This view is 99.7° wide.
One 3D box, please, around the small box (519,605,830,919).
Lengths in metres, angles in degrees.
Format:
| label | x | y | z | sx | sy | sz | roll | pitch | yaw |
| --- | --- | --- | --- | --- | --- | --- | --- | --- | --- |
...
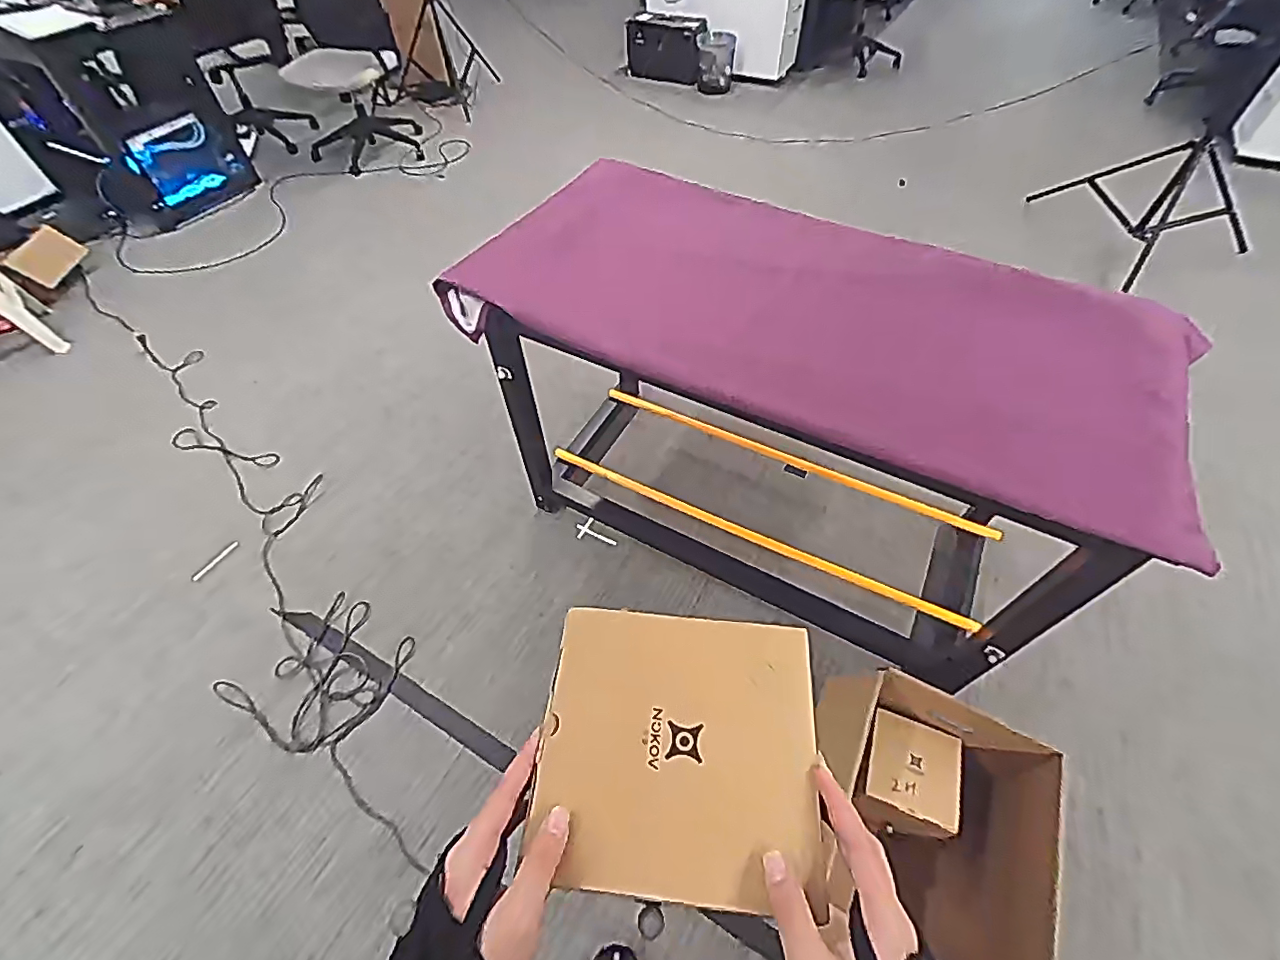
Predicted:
| label | x | y | z | sx | sy | sz | roll | pitch | yaw |
| --- | --- | --- | --- | --- | --- | --- | --- | --- | --- |
| small box | 0.028 | 0.211 | 0.408 | 0.179 | 0.176 | 0.168 | 3 | 53 | 5 |
